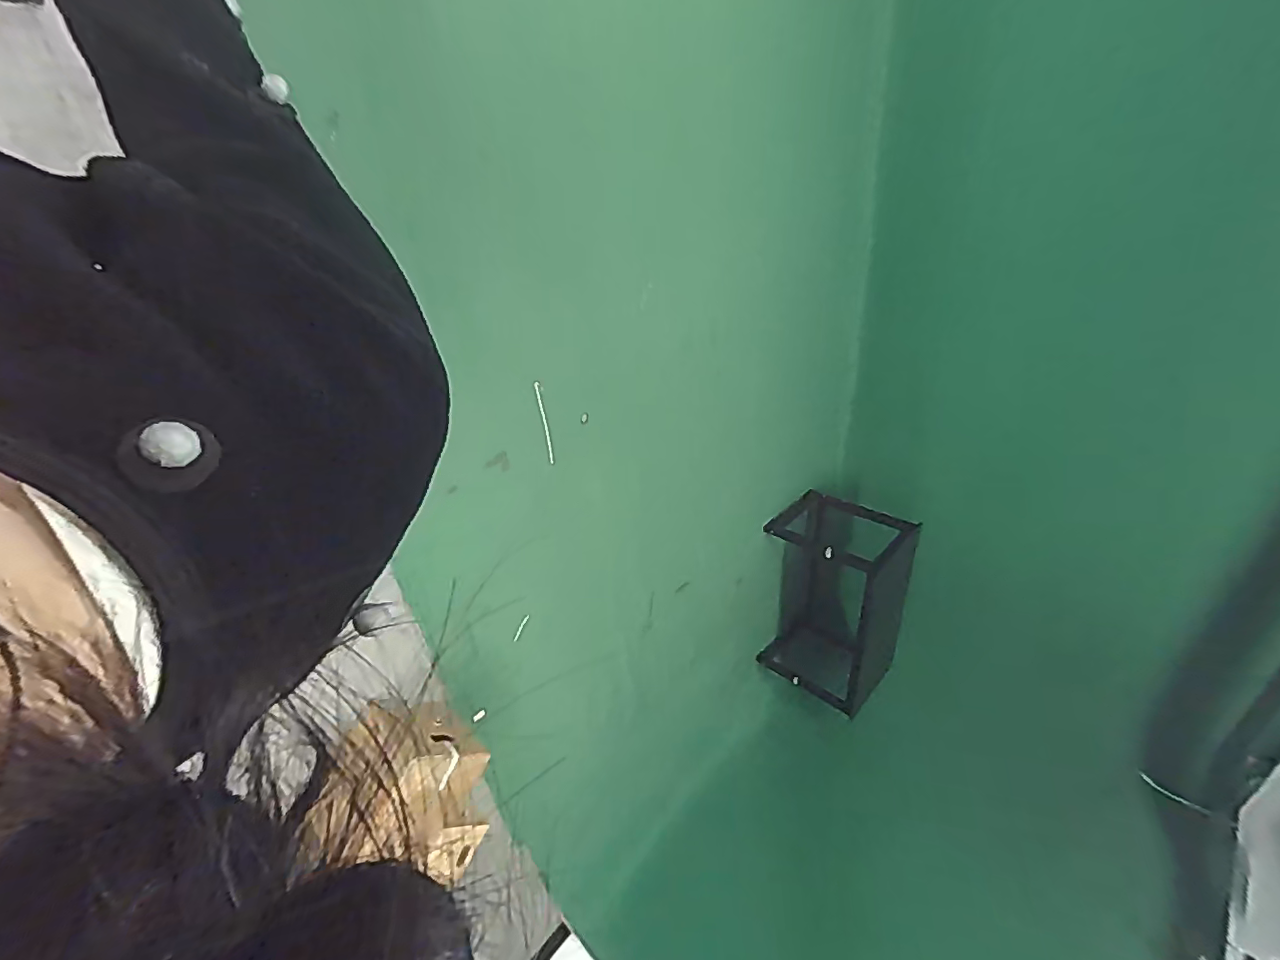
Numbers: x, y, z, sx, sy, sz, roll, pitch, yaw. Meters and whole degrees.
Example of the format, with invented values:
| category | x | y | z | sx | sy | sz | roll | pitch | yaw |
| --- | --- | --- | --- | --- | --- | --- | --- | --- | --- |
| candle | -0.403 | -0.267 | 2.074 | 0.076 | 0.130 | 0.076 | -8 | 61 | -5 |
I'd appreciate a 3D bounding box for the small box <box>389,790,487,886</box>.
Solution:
| category | x | y | z | sx | sy | sz | roll | pitch | yaw |
| --- | --- | --- | --- | --- | --- | --- | --- | --- | --- |
| small box | -0.593 | 1.041 | 1.589 | 0.179 | 0.176 | 0.168 | 39 | 77 | -49 |
